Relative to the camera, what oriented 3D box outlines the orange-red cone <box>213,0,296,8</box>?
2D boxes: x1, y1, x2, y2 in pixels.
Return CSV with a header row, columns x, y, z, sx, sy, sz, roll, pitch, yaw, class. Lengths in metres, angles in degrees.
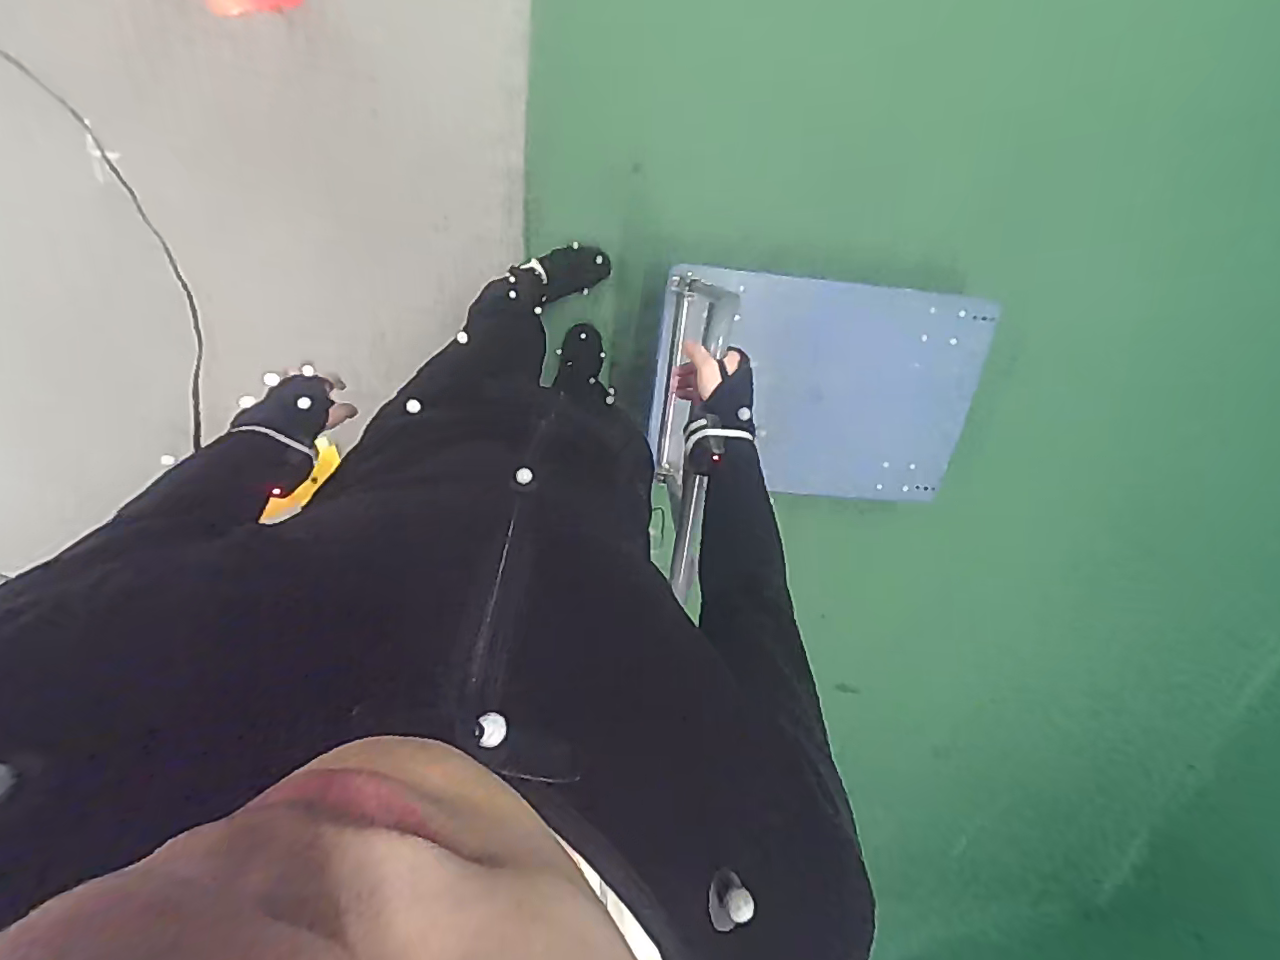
x,y,z,sx,sy,sz,roll,pitch,yaw,class
-0.816,-1.050,0.968,0.198,0.360,0.199,-9,112,-1,orange-red cone
